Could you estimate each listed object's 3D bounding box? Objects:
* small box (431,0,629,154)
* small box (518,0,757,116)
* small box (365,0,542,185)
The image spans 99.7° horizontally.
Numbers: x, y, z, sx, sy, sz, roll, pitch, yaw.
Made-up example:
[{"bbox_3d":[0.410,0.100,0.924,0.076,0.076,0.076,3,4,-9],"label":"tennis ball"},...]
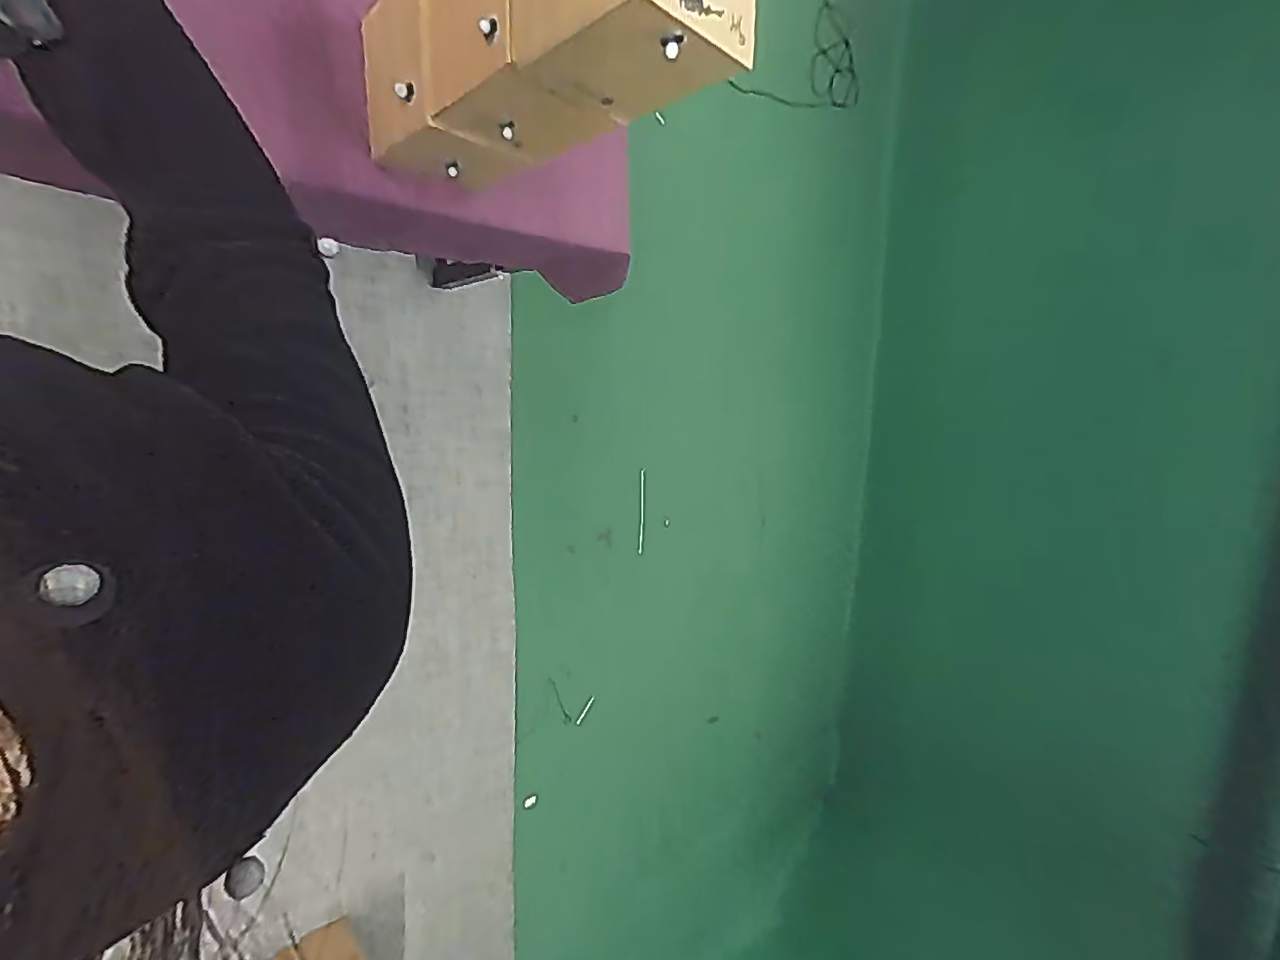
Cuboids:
[{"bbox_3d":[-0.126,-0.511,0.620,0.168,0.176,0.179,-10,105,-46],"label":"small box"},{"bbox_3d":[-0.005,-0.488,0.510,0.168,0.176,0.179,-15,108,-45],"label":"small box"},{"bbox_3d":[-0.249,-0.523,0.727,0.168,0.176,0.179,-11,104,-47],"label":"small box"}]
